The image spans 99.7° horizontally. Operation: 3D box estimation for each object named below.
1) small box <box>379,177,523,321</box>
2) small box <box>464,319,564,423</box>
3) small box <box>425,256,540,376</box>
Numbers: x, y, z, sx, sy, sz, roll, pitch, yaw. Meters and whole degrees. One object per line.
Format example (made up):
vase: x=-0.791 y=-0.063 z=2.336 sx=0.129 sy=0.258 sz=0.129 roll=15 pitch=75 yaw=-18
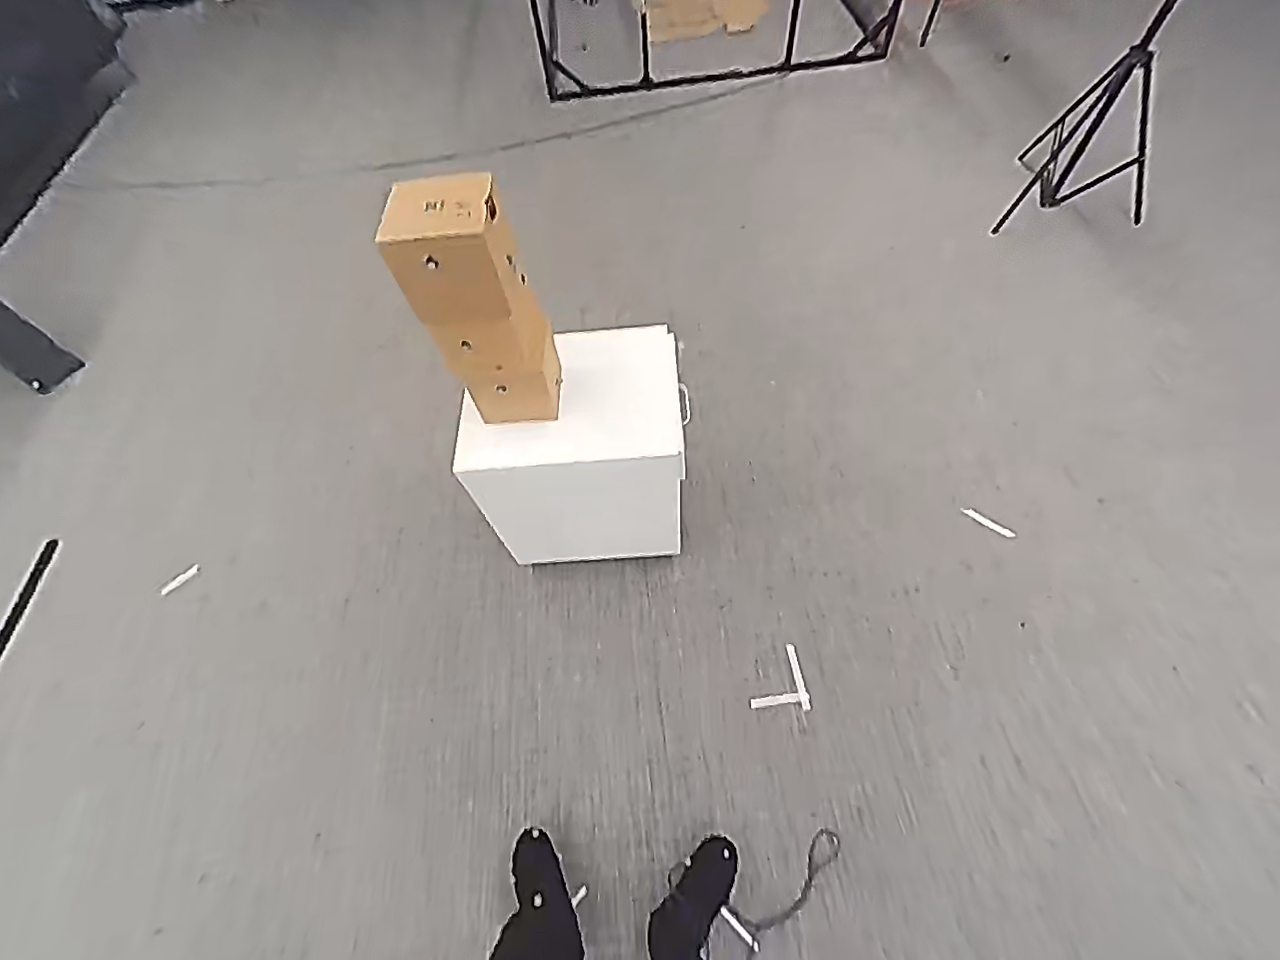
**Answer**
small box: x=-0.318 y=-0.397 z=0.946 sx=0.179 sy=0.176 sz=0.168 roll=-4 pitch=59 yaw=2
small box: x=-0.278 y=-0.243 z=1.233 sx=0.179 sy=0.176 sz=0.168 roll=-2 pitch=59 yaw=2
small box: x=-0.307 y=-0.325 z=1.095 sx=0.168 sy=0.176 sz=0.179 roll=-1 pitch=59 yaw=4
